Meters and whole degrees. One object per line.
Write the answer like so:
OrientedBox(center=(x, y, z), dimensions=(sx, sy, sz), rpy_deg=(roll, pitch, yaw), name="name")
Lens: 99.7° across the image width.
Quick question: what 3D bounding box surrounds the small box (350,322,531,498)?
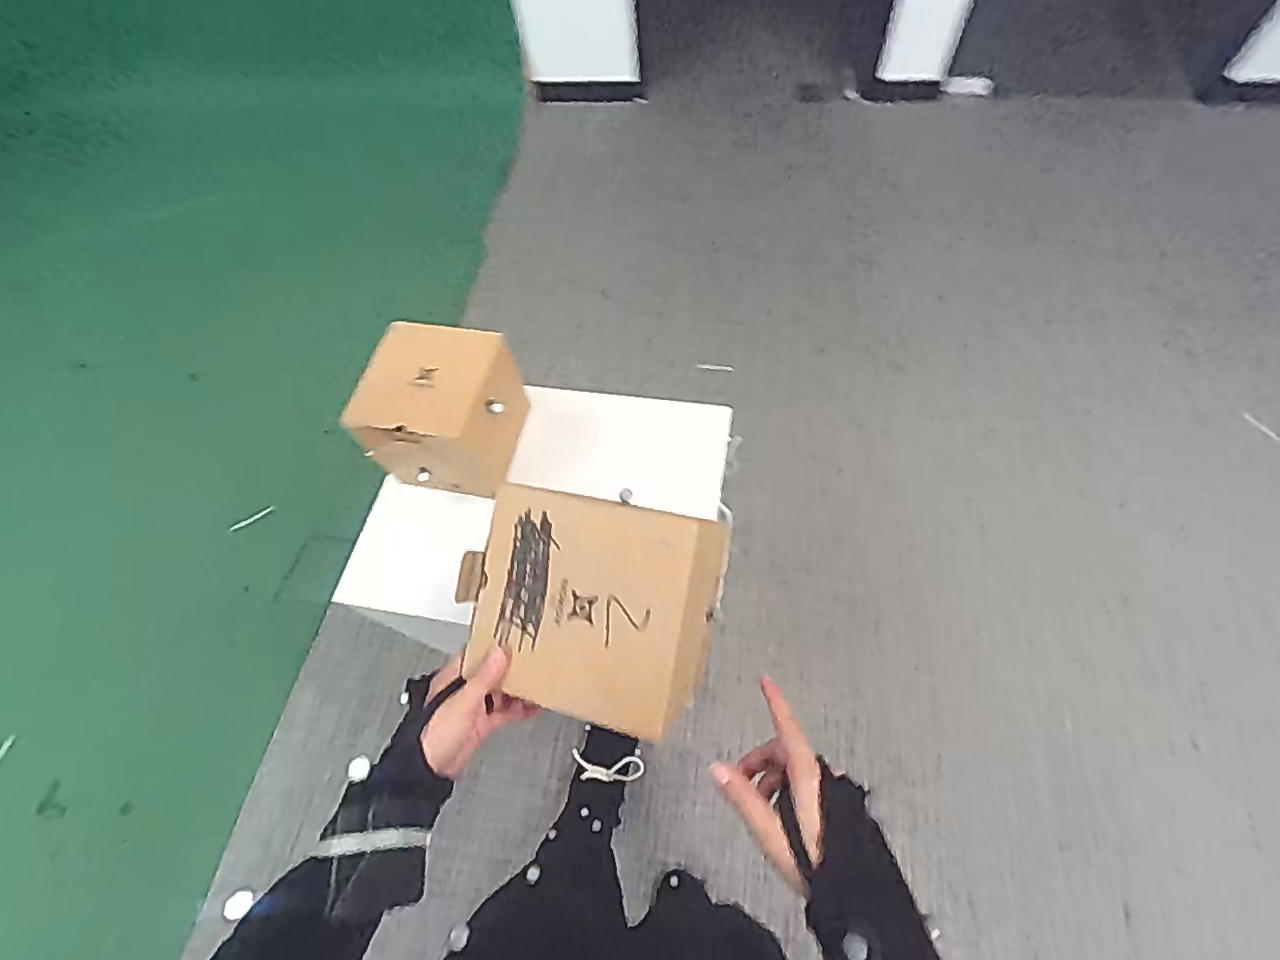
OrientedBox(center=(-0.269, -0.097, 0.781), dimensions=(0.168, 0.176, 0.179), rpy_deg=(9, 64, 8), name="small box")
